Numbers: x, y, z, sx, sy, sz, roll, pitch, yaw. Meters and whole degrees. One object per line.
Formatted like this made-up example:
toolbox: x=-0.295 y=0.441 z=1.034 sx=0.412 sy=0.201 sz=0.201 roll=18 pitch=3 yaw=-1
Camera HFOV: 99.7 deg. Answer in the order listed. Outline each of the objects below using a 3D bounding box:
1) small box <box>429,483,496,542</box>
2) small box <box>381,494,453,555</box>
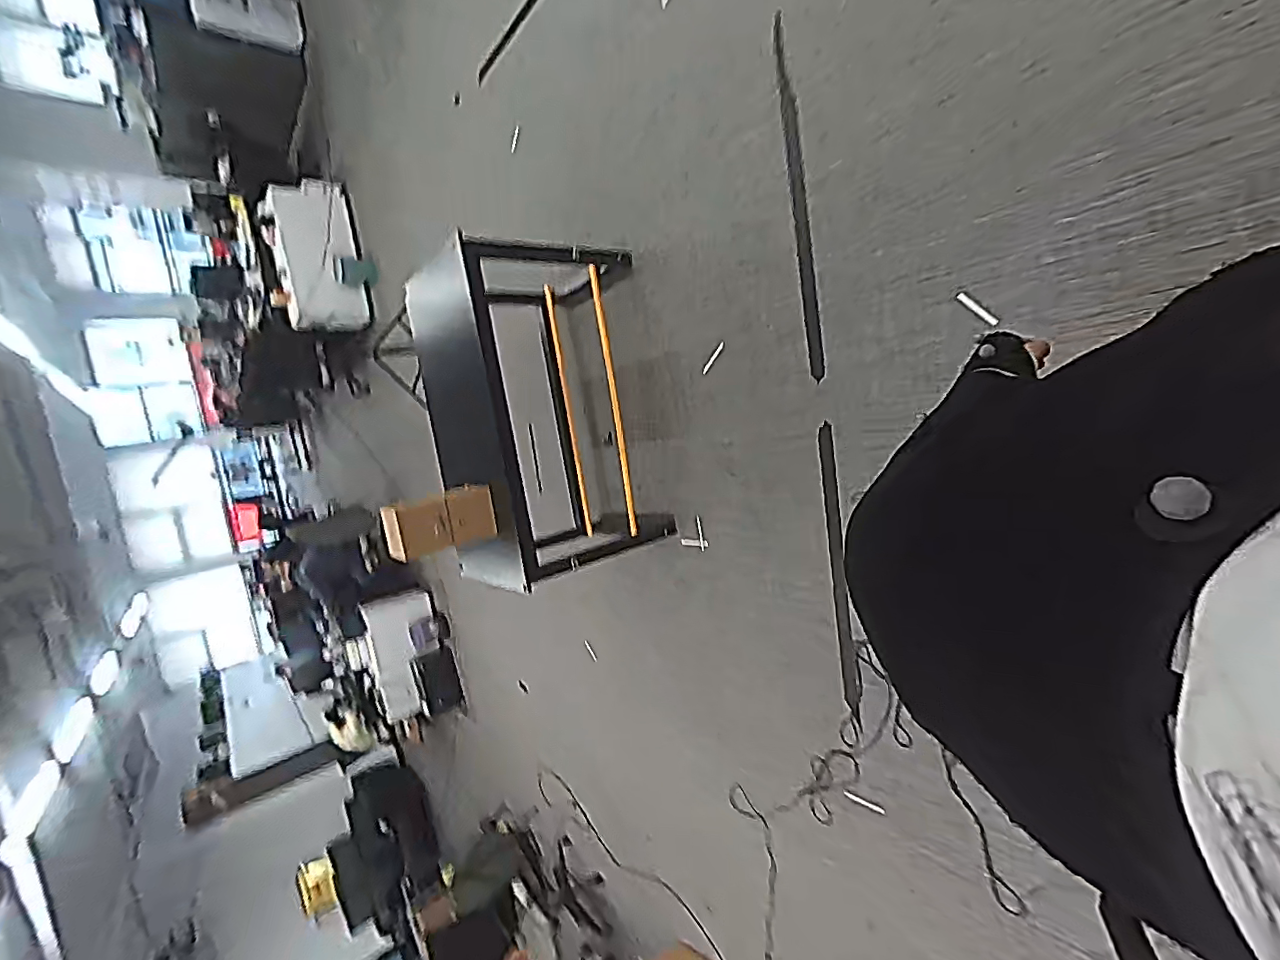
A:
small box: x=-0.633 y=0.112 z=1.937 sx=0.168 sy=0.176 sz=0.179 roll=0 pitch=100 yaw=50
small box: x=-0.754 y=0.145 z=1.834 sx=0.179 sy=0.176 sz=0.168 roll=-2 pitch=101 yaw=50
